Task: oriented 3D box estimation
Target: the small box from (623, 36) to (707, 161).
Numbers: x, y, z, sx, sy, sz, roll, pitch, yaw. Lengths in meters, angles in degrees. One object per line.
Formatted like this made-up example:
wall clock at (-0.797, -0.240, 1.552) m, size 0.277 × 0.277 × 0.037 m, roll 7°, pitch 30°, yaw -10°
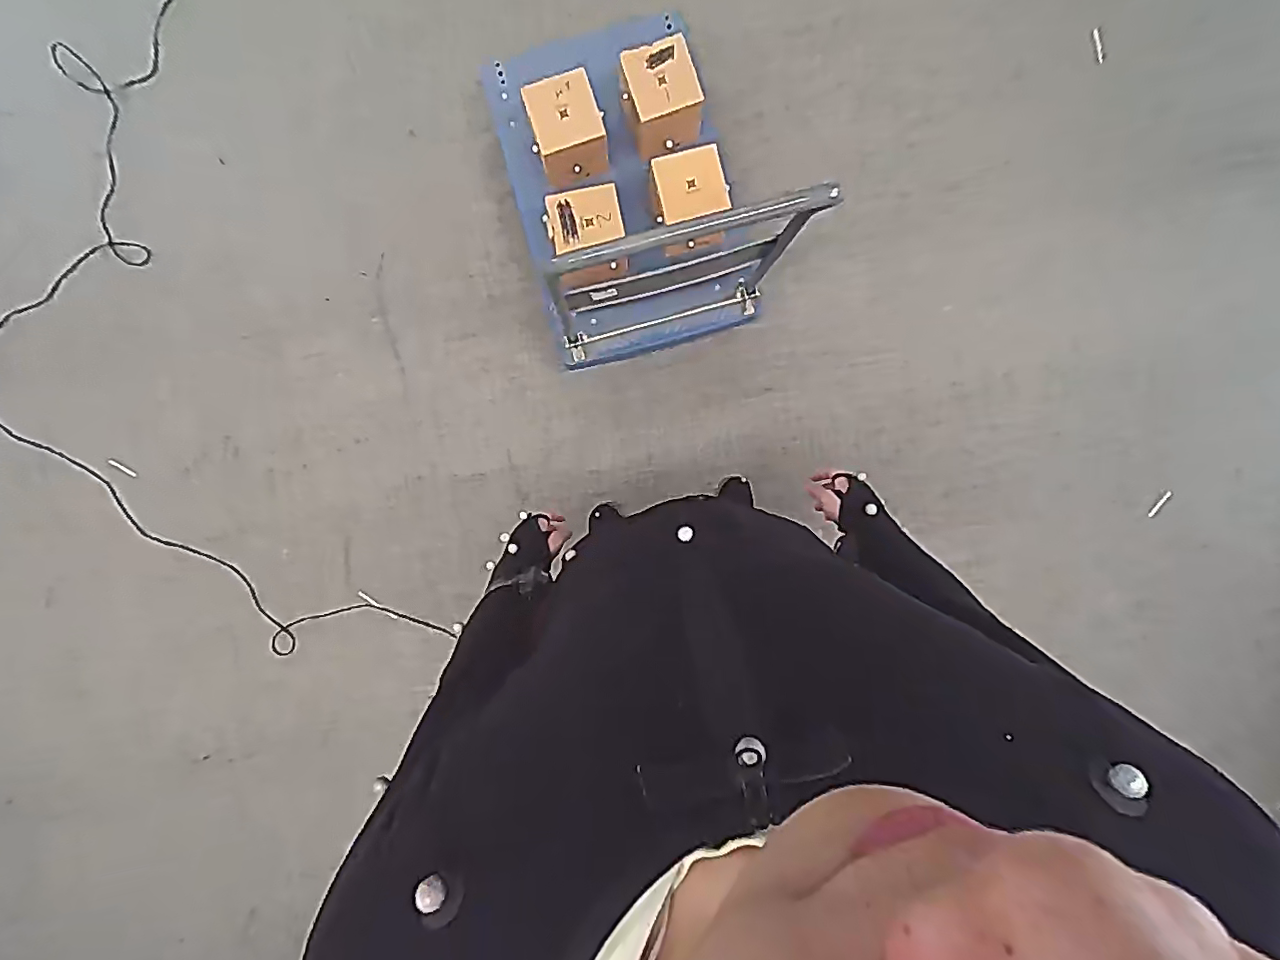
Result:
small box at (0.058, -0.967, 1.385) m, size 0.168 × 0.176 × 0.179 m, roll -19°, pitch 91°, yaw 1°

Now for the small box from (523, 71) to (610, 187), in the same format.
small box at (-0.181, -0.884, 1.385) m, size 0.168 × 0.176 × 0.179 m, roll -18°, pitch 90°, yaw -1°

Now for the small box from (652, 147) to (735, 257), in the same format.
small box at (0.130, -0.706, 1.388) m, size 0.168 × 0.176 × 0.179 m, roll -14°, pitch 91°, yaw 0°
